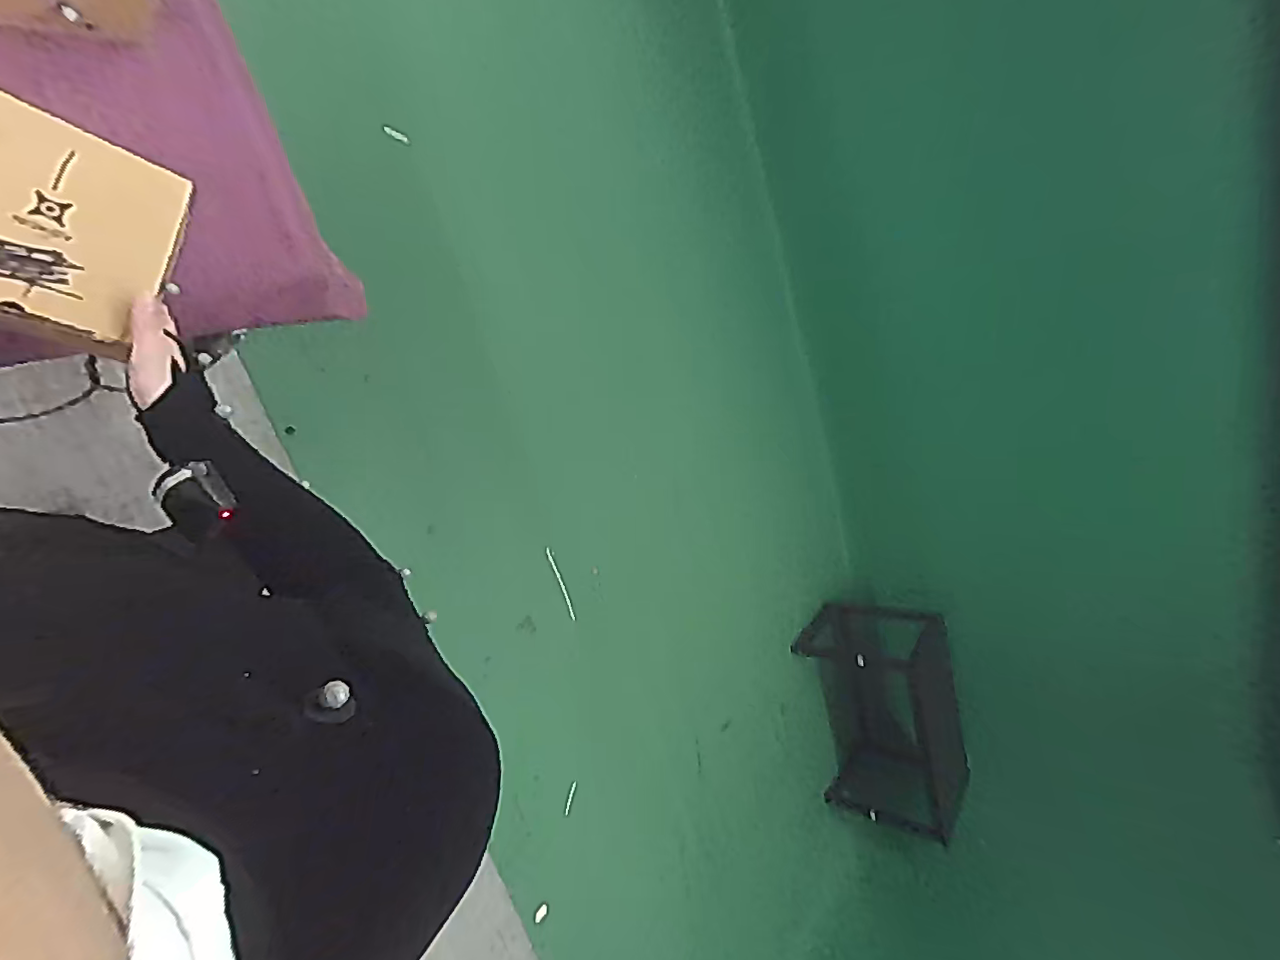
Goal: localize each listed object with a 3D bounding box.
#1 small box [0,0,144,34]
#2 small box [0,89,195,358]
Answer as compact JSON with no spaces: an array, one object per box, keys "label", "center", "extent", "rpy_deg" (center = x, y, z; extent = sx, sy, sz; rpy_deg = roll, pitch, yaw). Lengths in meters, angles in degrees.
[{"label":"small box","center":[-0.679,-0.641,0.584],"extent":[0.168,0.176,0.179],"rpy_deg":[-32,112,-43]},{"label":"small box","center":[-0.567,-0.233,0.528],"extent":[0.168,0.176,0.179],"rpy_deg":[19,80,-43]}]
